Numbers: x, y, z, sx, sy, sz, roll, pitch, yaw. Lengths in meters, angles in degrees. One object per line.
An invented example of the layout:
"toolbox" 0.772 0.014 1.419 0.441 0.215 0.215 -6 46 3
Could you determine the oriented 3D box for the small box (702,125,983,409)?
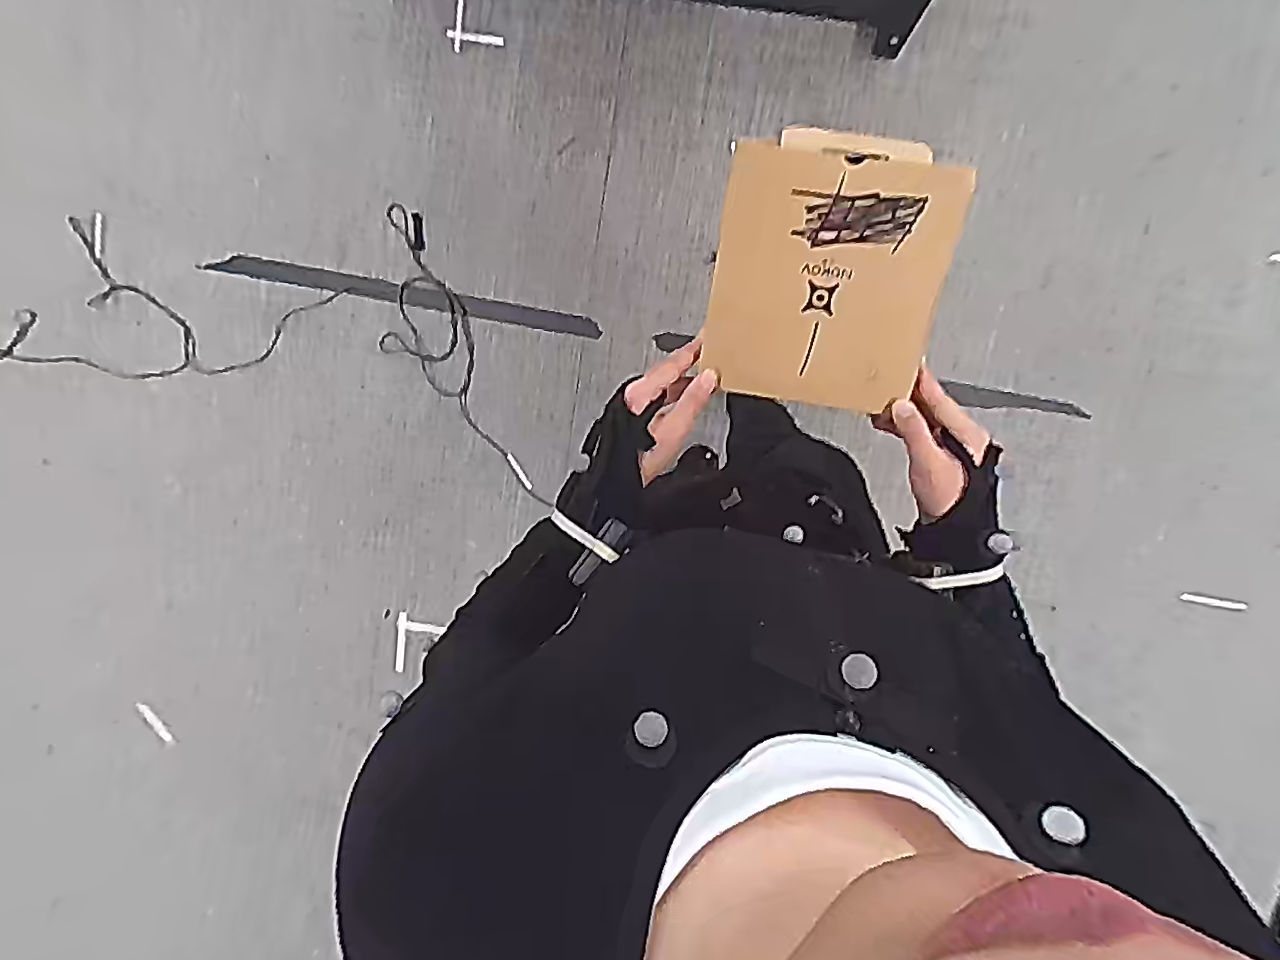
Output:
"small box" 0.148 -0.173 0.468 0.168 0.176 0.179 10 109 4
